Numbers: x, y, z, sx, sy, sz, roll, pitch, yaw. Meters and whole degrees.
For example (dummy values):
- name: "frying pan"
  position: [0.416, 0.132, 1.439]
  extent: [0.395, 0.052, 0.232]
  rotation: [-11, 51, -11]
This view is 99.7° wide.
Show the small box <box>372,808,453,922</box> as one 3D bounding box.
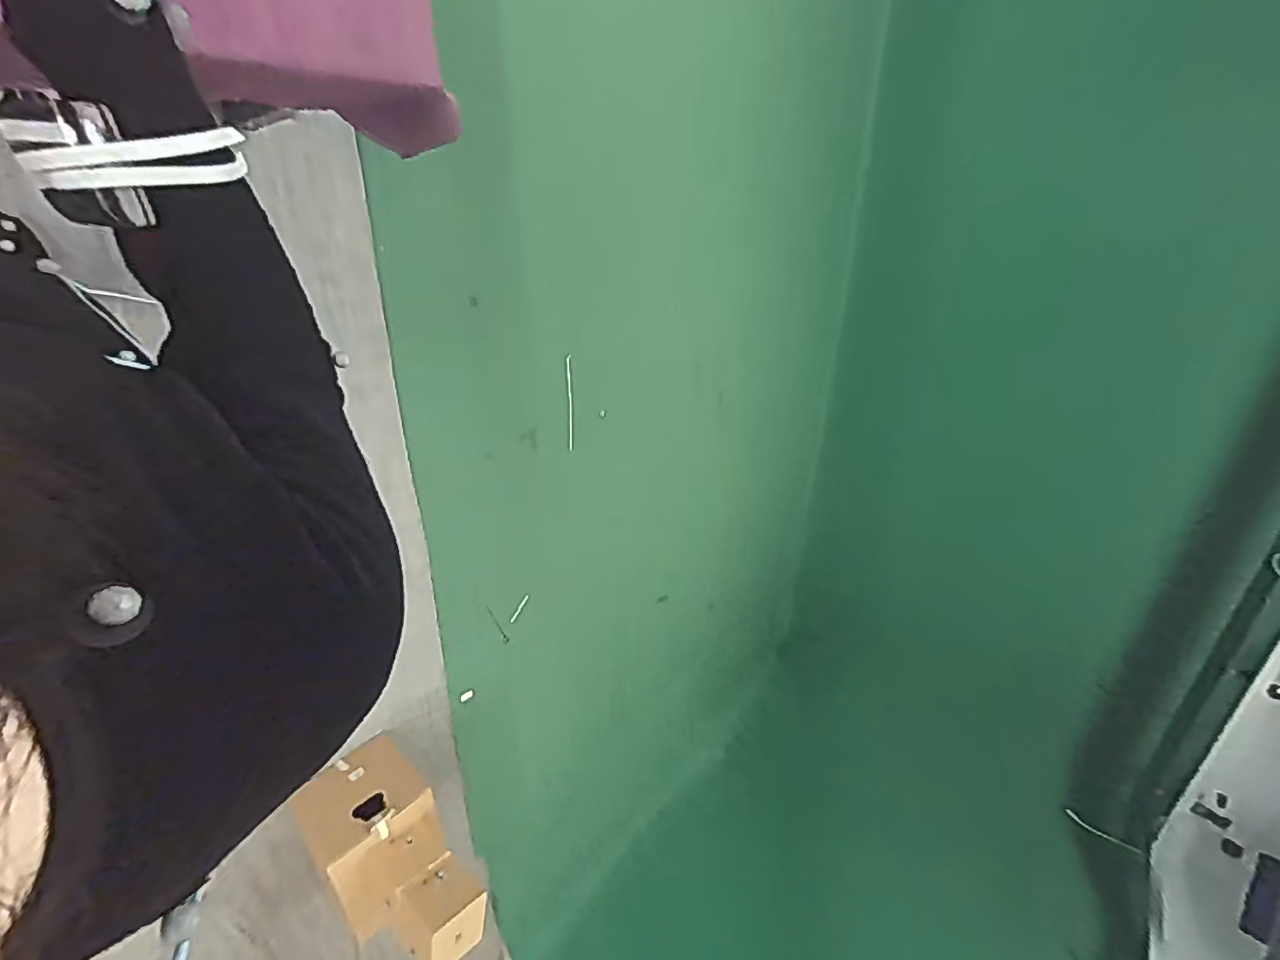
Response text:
- name: "small box"
  position: [-0.675, 1.128, 1.599]
  extent: [0.168, 0.176, 0.179]
  rotation: [-14, 117, -49]

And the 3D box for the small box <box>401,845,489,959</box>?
- name: "small box"
  position: [-0.548, 1.182, 1.512]
  extent: [0.168, 0.176, 0.179]
  rotation: [-9, 113, -51]

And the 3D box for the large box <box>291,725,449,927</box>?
- name: "large box"
  position: [-0.863, 1.105, 1.760]
  extent: [0.320, 0.320, 0.408]
  rotation: [-26, 128, -43]
